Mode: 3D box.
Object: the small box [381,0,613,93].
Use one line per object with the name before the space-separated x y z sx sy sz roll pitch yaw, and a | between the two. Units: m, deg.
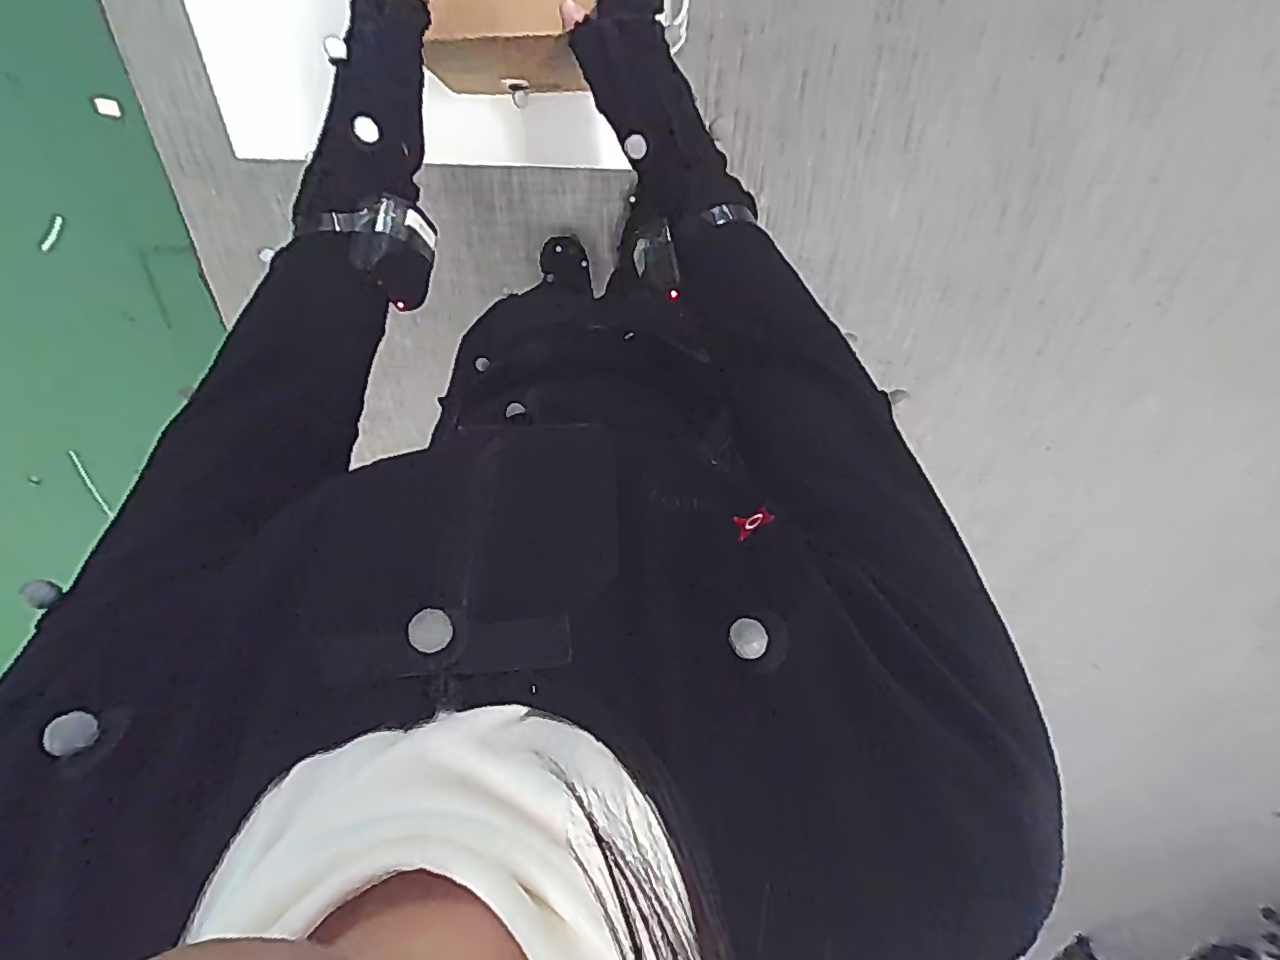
small box | -0.110 -0.444 0.437 0.168 0.176 0.179 -3 113 1
